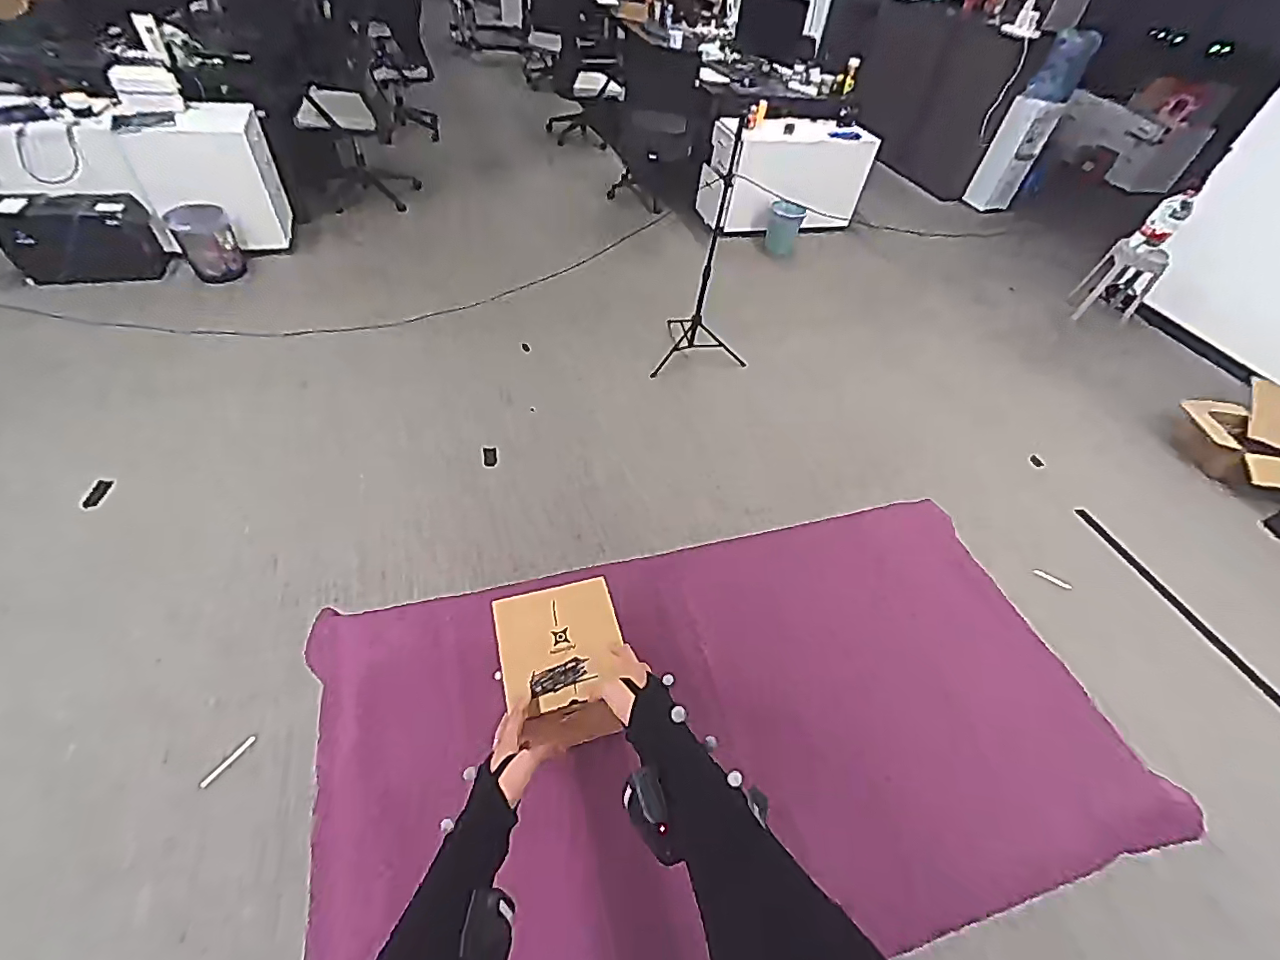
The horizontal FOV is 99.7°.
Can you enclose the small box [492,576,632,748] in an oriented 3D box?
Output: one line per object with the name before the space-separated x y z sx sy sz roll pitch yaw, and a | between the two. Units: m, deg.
small box | -0.114 0.274 0.796 0.168 0.176 0.179 -11 51 -14
